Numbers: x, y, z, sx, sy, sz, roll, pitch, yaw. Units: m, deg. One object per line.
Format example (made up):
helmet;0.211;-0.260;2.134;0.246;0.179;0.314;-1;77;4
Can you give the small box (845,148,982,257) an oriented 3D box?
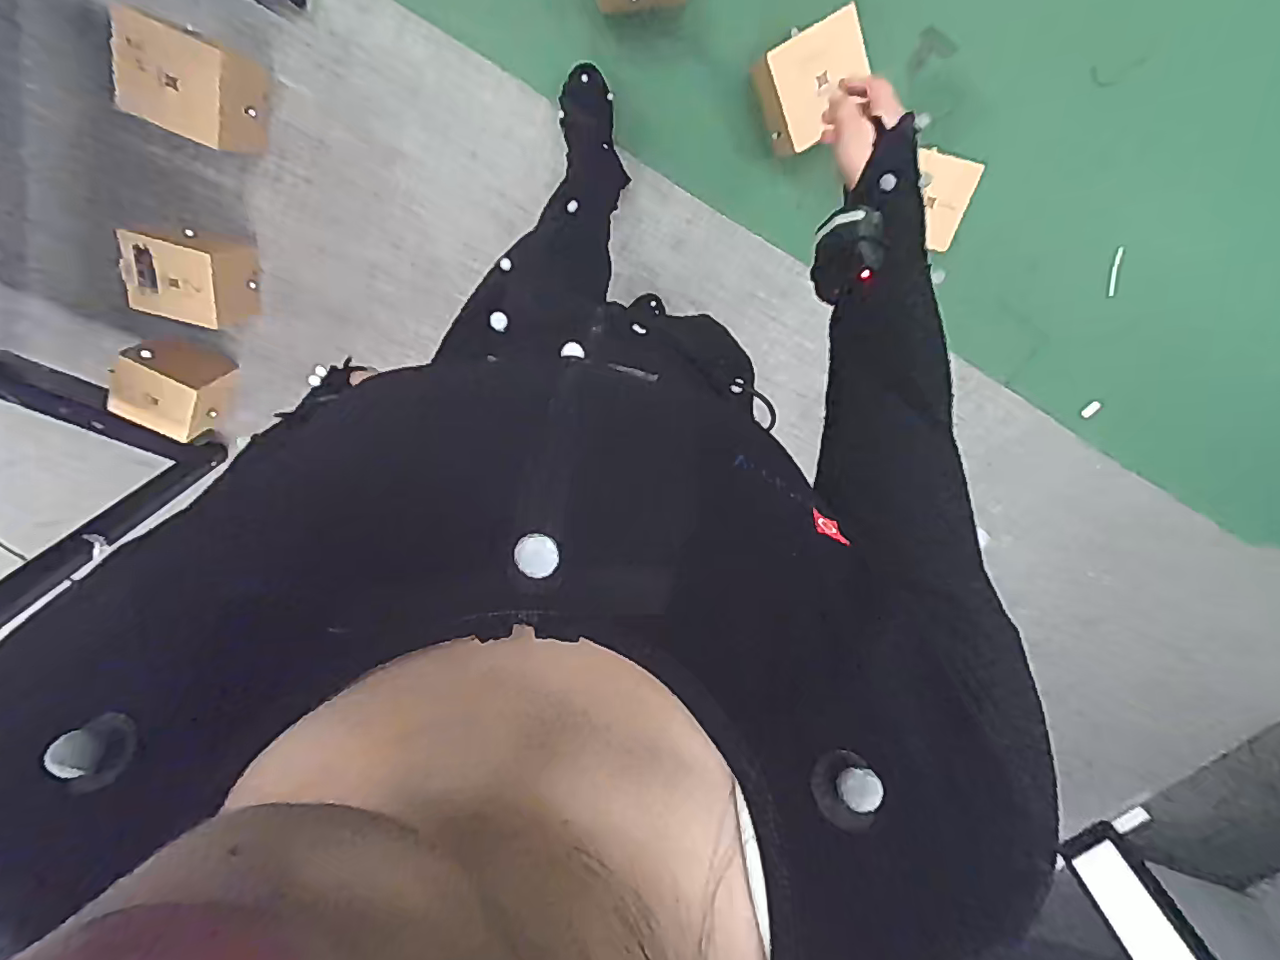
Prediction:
small box;0.571;-0.595;1.160;0.179;0.176;0.168;10;120;-8

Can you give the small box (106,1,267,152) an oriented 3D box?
small box;-0.847;-0.750;1.026;0.179;0.176;0.168;20;117;-13

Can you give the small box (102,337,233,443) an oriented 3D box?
small box;-1.153;-0.226;1.332;0.179;0.176;0.168;28;116;-17

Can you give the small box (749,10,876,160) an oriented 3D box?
small box;0.331;-0.757;1.058;0.168;0.176;0.179;-25;118;12

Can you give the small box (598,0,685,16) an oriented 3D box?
small box;0.000;-0.943;0.939;0.168;0.176;0.179;-4;120;0
